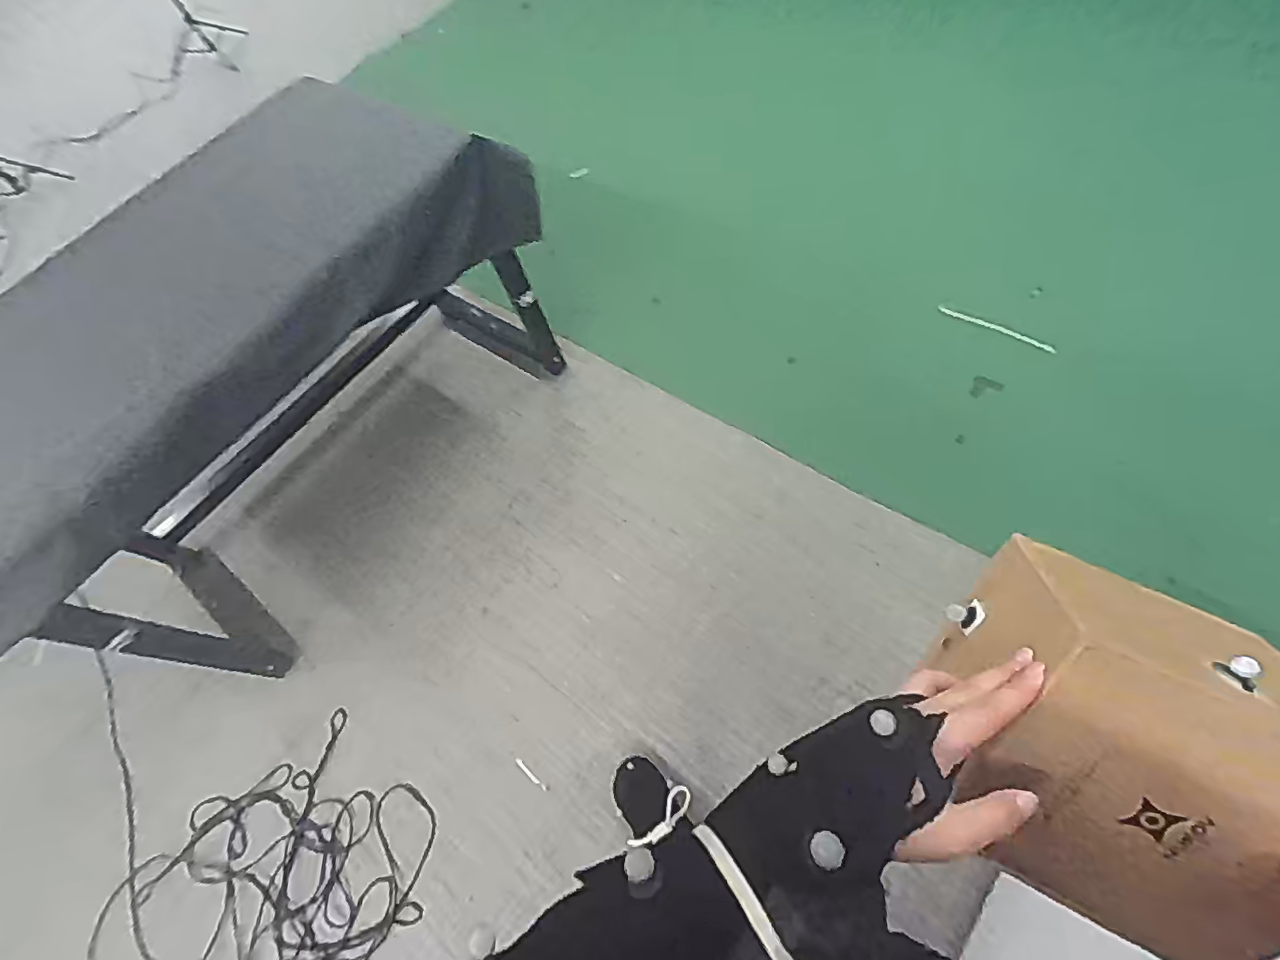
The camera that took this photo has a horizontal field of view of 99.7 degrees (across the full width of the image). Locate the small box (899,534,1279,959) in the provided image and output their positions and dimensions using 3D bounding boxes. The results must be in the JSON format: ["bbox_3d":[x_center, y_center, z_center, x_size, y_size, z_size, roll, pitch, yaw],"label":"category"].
[{"bbox_3d":[0.307,0.159,0.375,0.179,0.176,0.168,25,112,13],"label":"small box"}]
